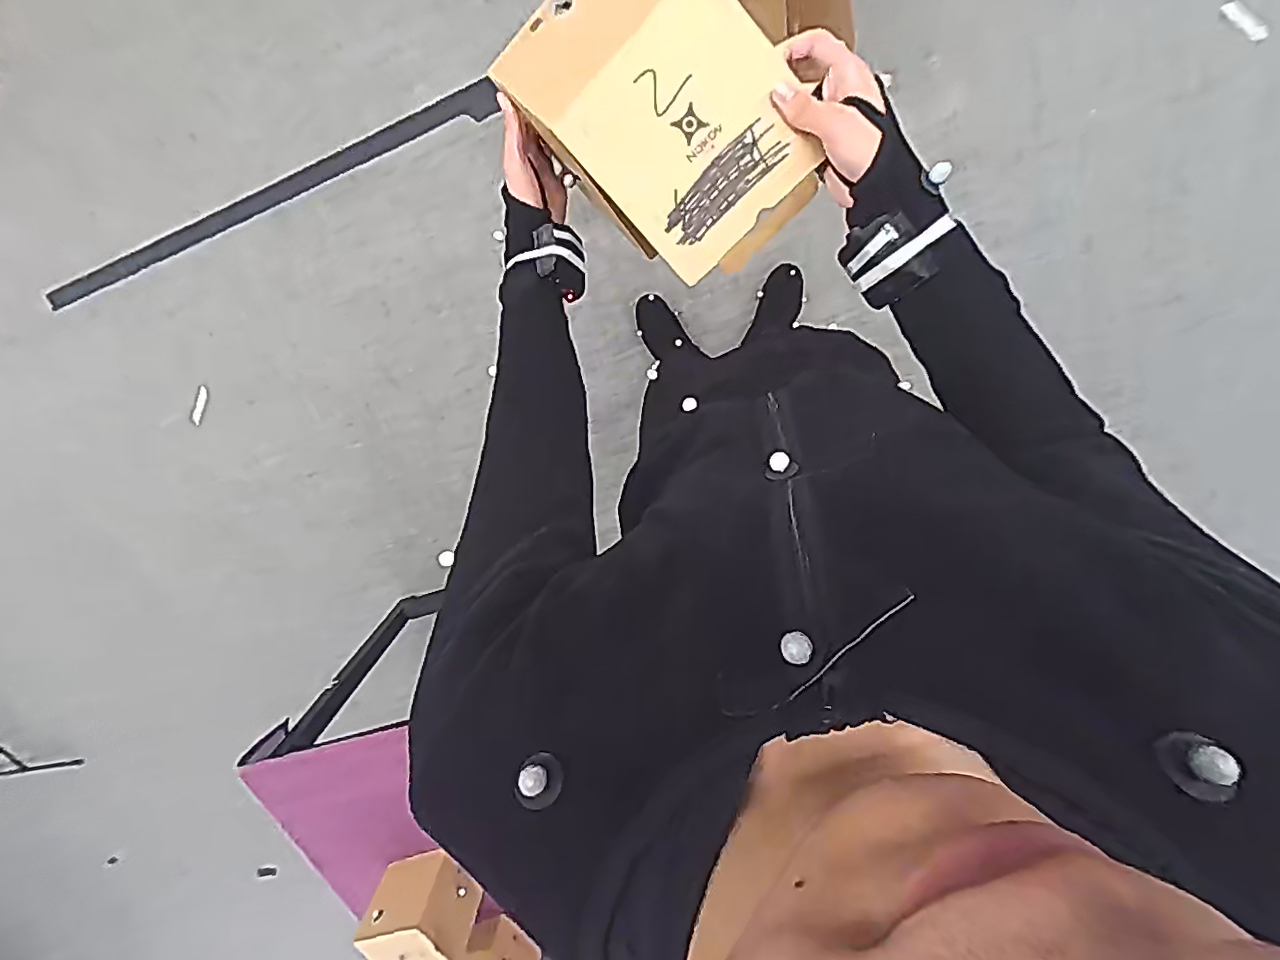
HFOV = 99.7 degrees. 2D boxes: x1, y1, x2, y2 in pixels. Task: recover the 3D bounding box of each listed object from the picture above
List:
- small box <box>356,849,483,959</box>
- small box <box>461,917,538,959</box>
[{"bbox_3d":[-0.492,0.989,1.232,0.179,0.176,0.168,-23,108,11],"label":"small box"},{"bbox_3d":[-0.366,1.210,1.310,0.179,0.176,0.168,-31,105,14],"label":"small box"}]
